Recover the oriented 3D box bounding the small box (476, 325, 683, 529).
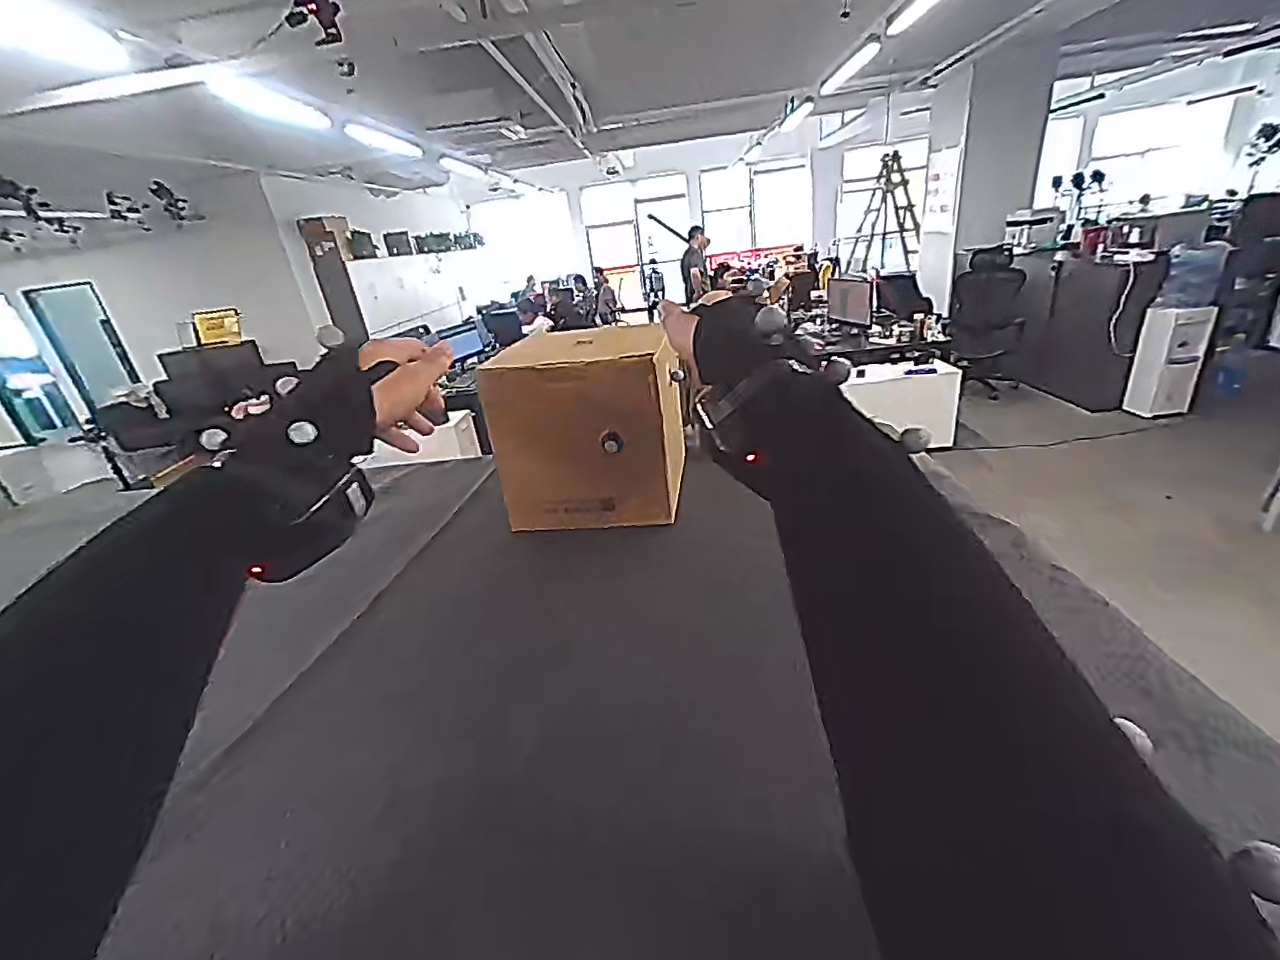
[{"bbox_3d":[-0.045,-0.057,0.570,0.168,0.176,0.179,-2,24,9],"label":"small box"}]
